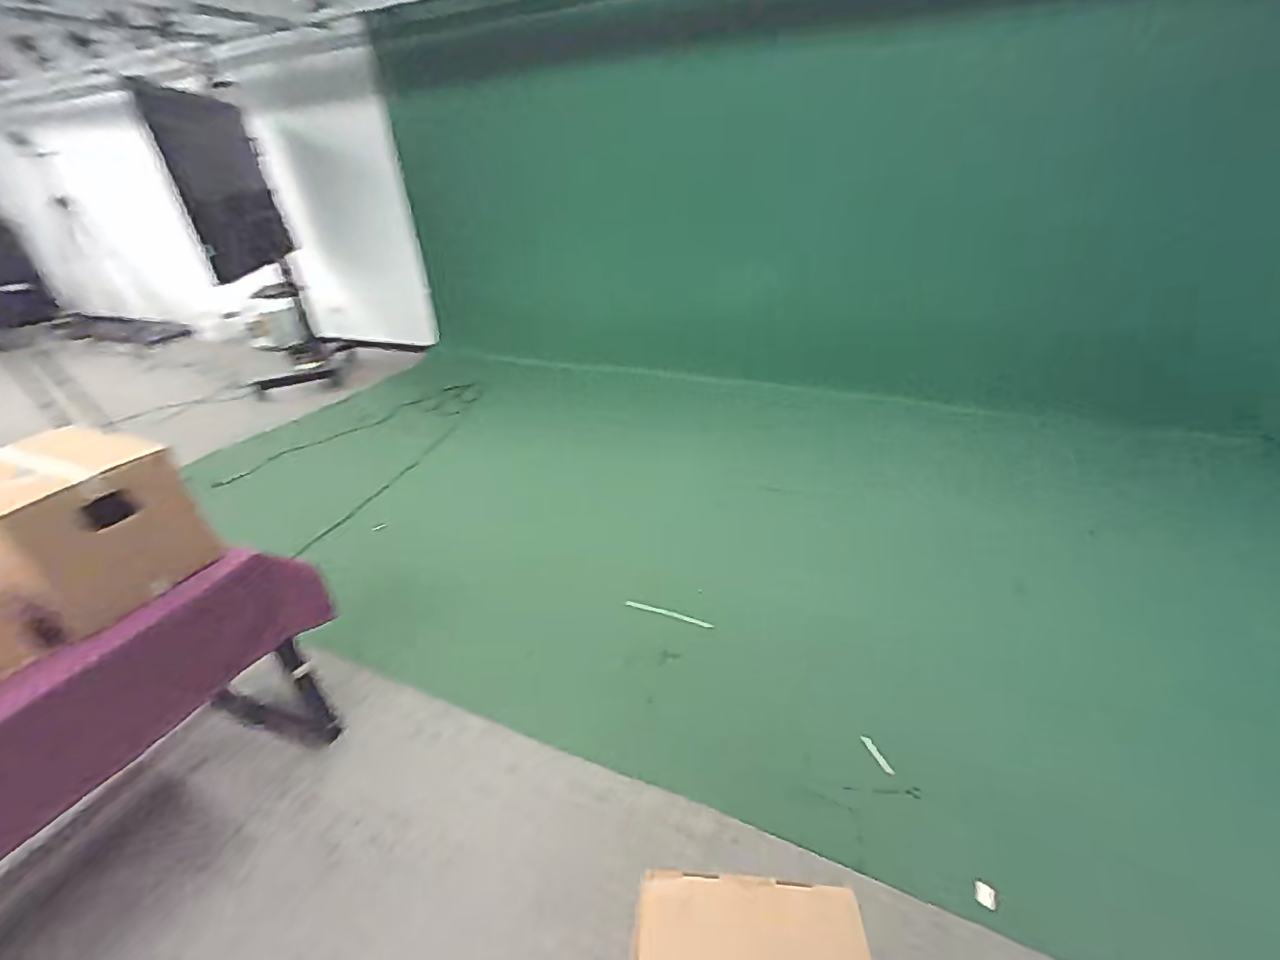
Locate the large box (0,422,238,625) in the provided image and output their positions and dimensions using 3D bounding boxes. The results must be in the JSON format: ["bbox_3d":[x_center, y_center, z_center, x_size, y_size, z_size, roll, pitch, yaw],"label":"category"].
[{"bbox_3d":[-1.279,0.086,1.278,0.408,0.320,0.320,12,34,22],"label":"large box"}]
